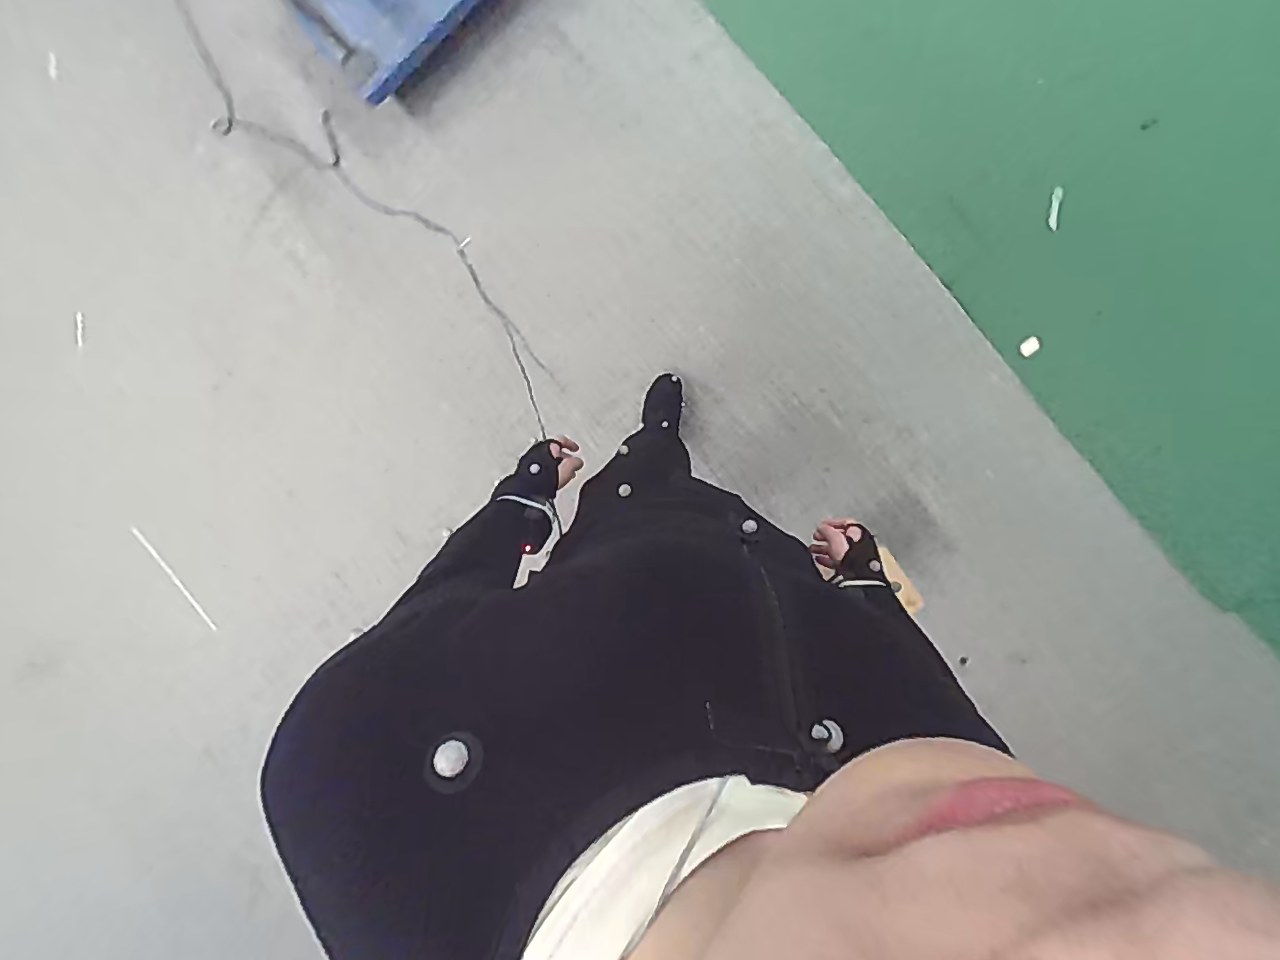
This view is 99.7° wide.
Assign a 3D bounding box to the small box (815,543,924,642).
[{"bbox_3d":[0.566,0.272,1.362,0.168,0.176,0.179,-34,87,8],"label":"small box"}]

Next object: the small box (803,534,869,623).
[{"bbox_3d":[0.585,0.269,1.524,0.179,0.176,0.168,-34,88,8],"label":"small box"}]
